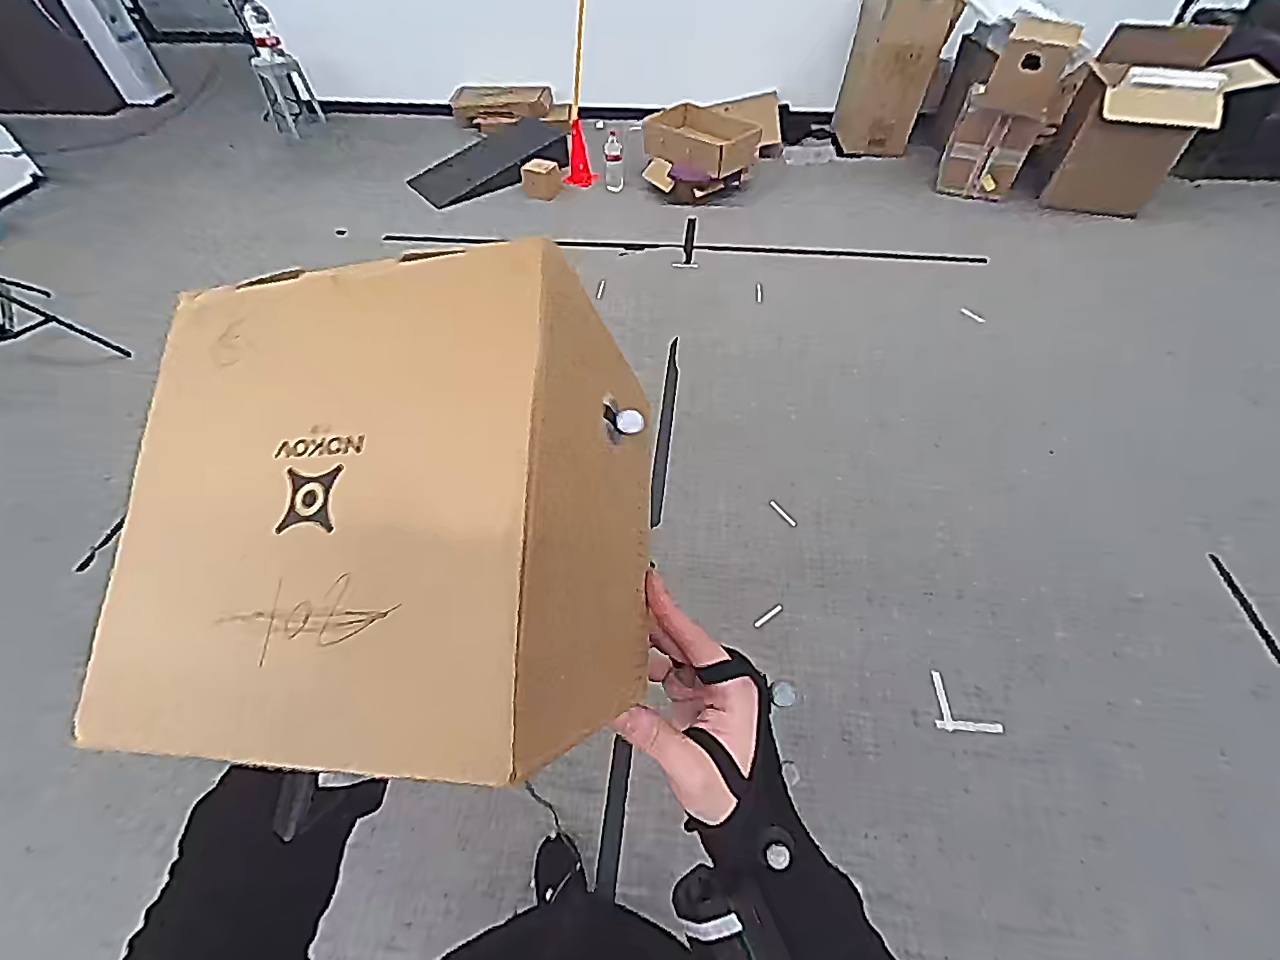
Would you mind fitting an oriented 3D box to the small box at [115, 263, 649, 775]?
[{"bbox_3d":[-0.094,0.025,0.274,0.168,0.176,0.179,-4,77,15],"label":"small box"}]
